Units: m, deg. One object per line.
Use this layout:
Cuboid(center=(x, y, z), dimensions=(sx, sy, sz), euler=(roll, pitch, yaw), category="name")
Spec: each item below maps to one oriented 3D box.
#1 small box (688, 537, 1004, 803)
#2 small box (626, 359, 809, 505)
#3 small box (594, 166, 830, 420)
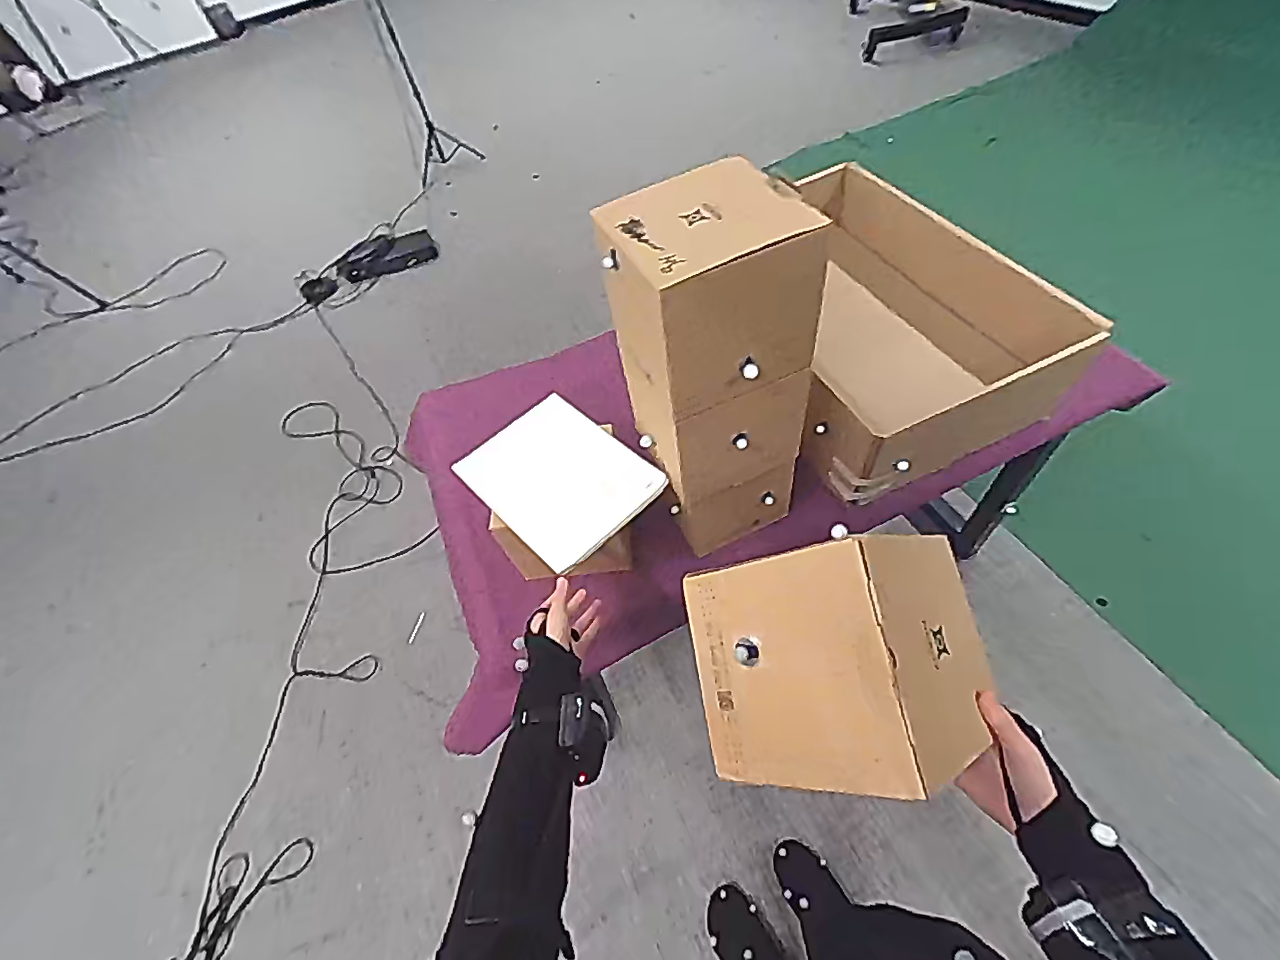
Cuboid(center=(0.167, 0.146, 0.457), dimensions=(0.176, 0.179, 0.168), euler=(-25, 68, 44), category="small box")
Cuboid(center=(0.094, -0.099, 0.707), dimensions=(0.179, 0.176, 0.168), euler=(-24, 53, -7), category="small box")
Cuboid(center=(0.070, -0.195, 0.576), dimensions=(0.179, 0.176, 0.168), euler=(-23, 52, -9), category="small box")
